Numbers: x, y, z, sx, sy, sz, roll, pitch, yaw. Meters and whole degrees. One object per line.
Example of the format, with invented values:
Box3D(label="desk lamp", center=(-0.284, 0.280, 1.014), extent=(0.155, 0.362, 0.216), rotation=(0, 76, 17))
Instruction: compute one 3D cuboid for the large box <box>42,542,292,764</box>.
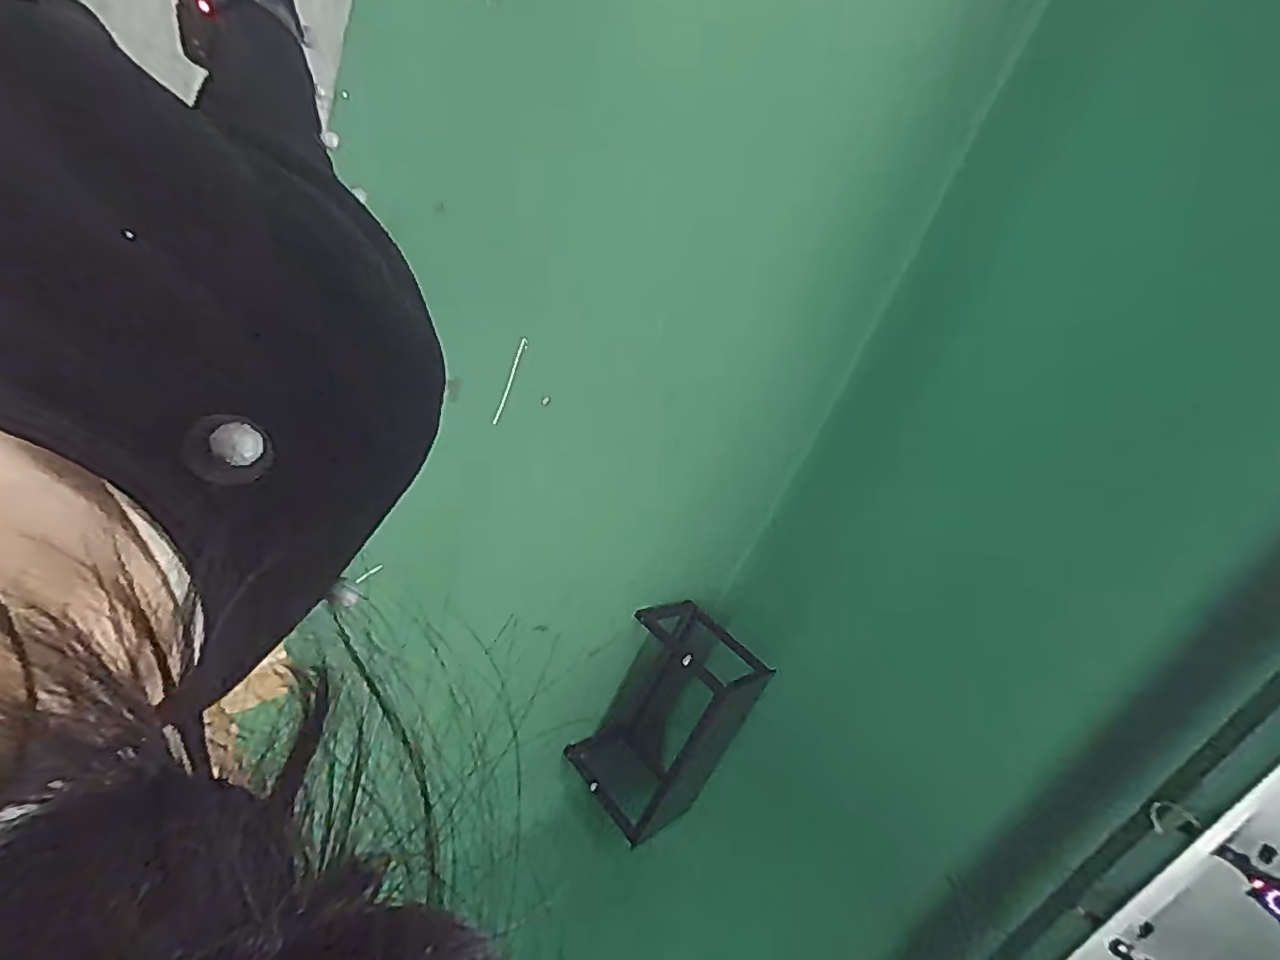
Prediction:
Box3D(label="large box", center=(-1.176, 0.410, 1.374), extent=(0.408, 0.320, 0.320), rotation=(-16, 132, -42))

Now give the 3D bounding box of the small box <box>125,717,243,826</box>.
Box3D(label="small box", center=(-0.938, 0.622, 1.117), extent=(0.168, 0.176, 0.179), rotation=(-10, 126, -44))

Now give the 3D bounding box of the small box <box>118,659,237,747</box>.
Box3D(label="small box", center=(-1.036, 0.537, 1.216), extent=(0.179, 0.176, 0.168), rotation=(-11, 126, -43))
